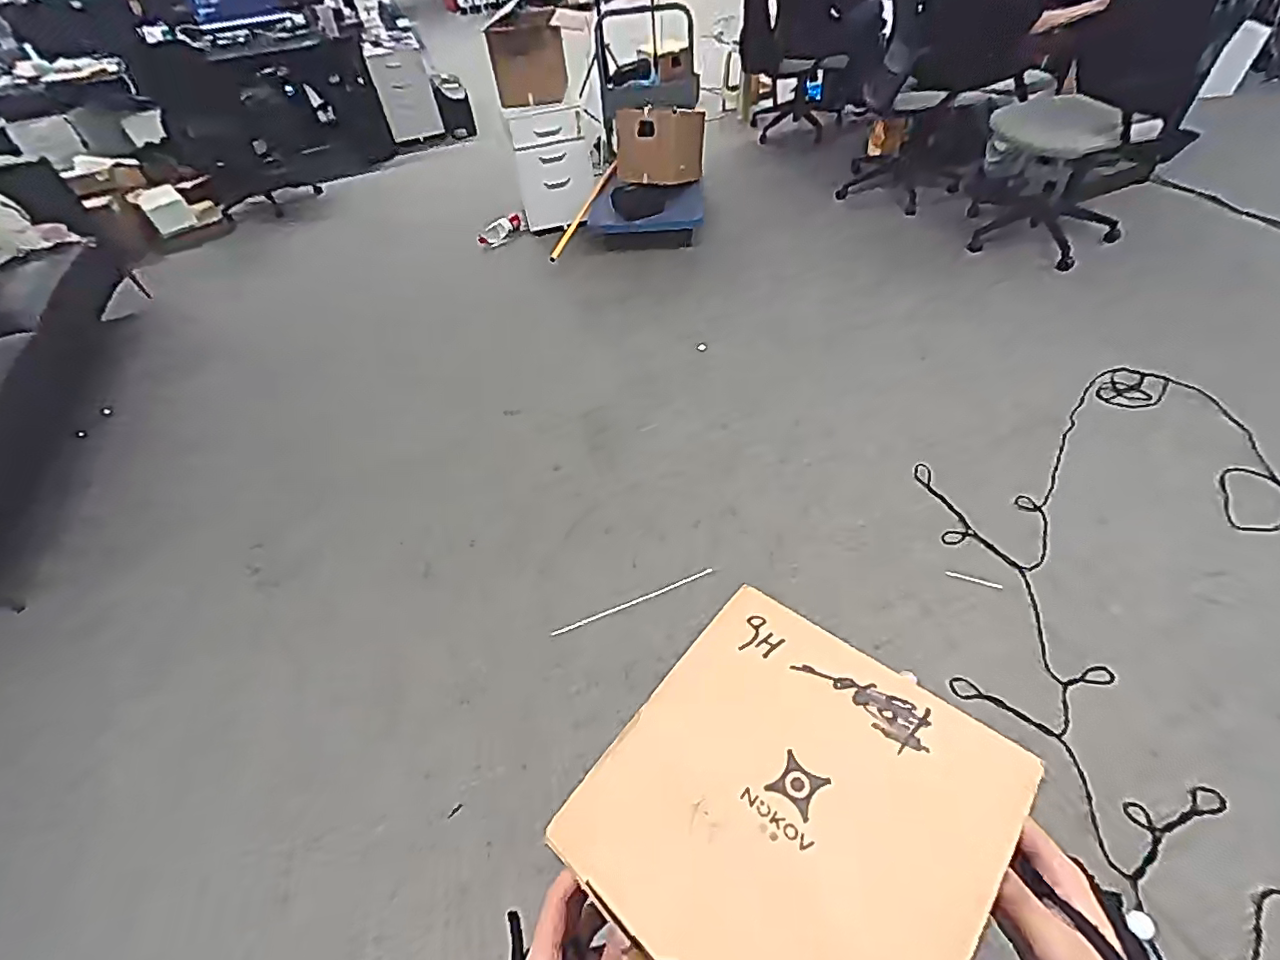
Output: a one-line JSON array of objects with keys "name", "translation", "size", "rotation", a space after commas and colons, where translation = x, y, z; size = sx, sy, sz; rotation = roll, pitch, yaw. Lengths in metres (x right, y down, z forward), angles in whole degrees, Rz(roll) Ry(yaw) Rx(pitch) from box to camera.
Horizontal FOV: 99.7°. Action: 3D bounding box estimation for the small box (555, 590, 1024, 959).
[{"name": "small box", "translation": [0.085, 0.208, 0.323], "size": [0.168, 0.176, 0.179], "rotation": [28, 60, 33]}]
